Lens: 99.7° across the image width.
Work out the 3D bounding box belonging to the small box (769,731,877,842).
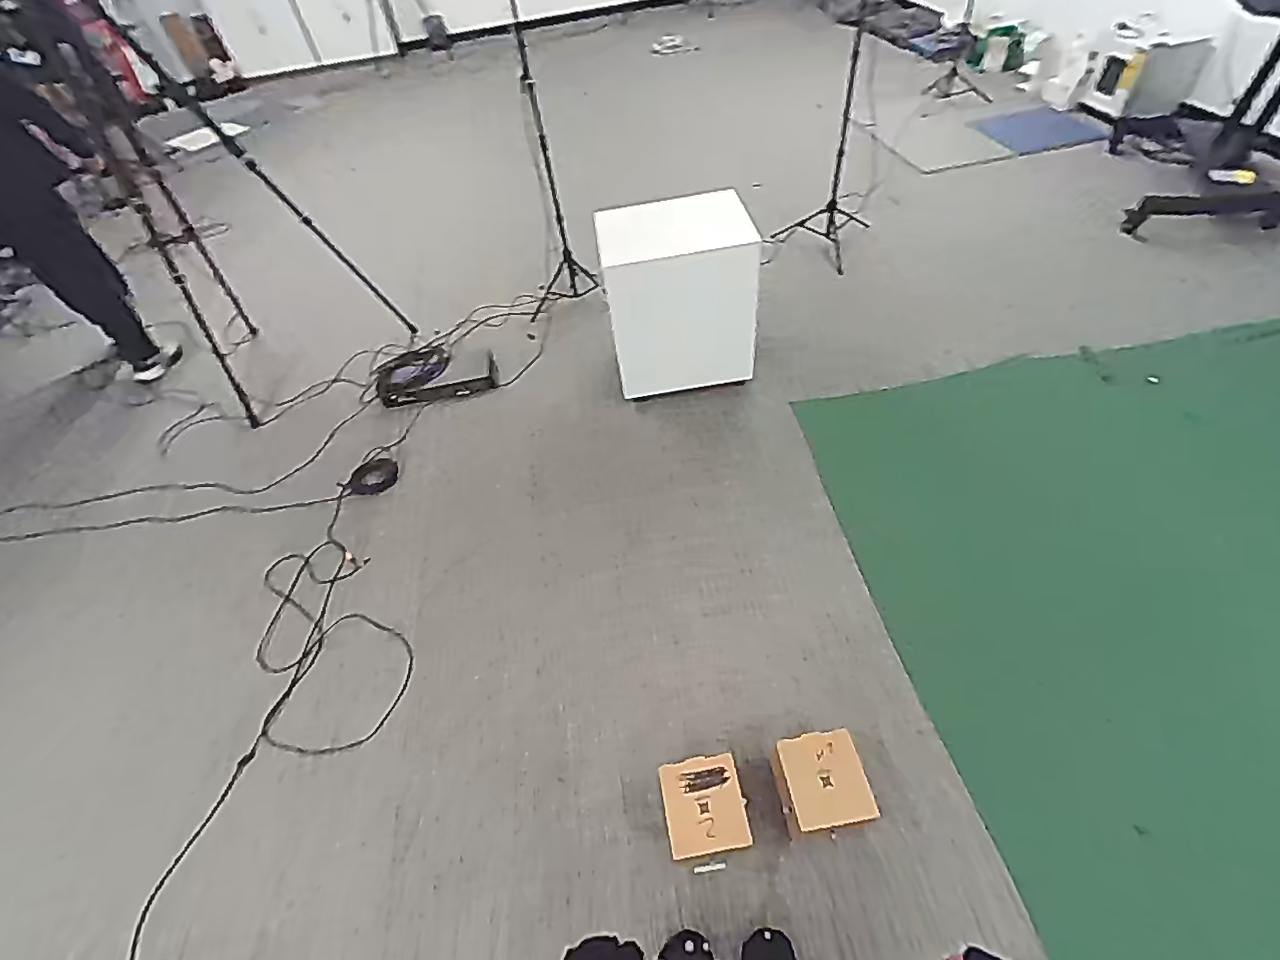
[{"bbox_3d":[0.393,0.680,1.191,0.168,0.176,0.179,-10,50,-2],"label":"small box"}]
